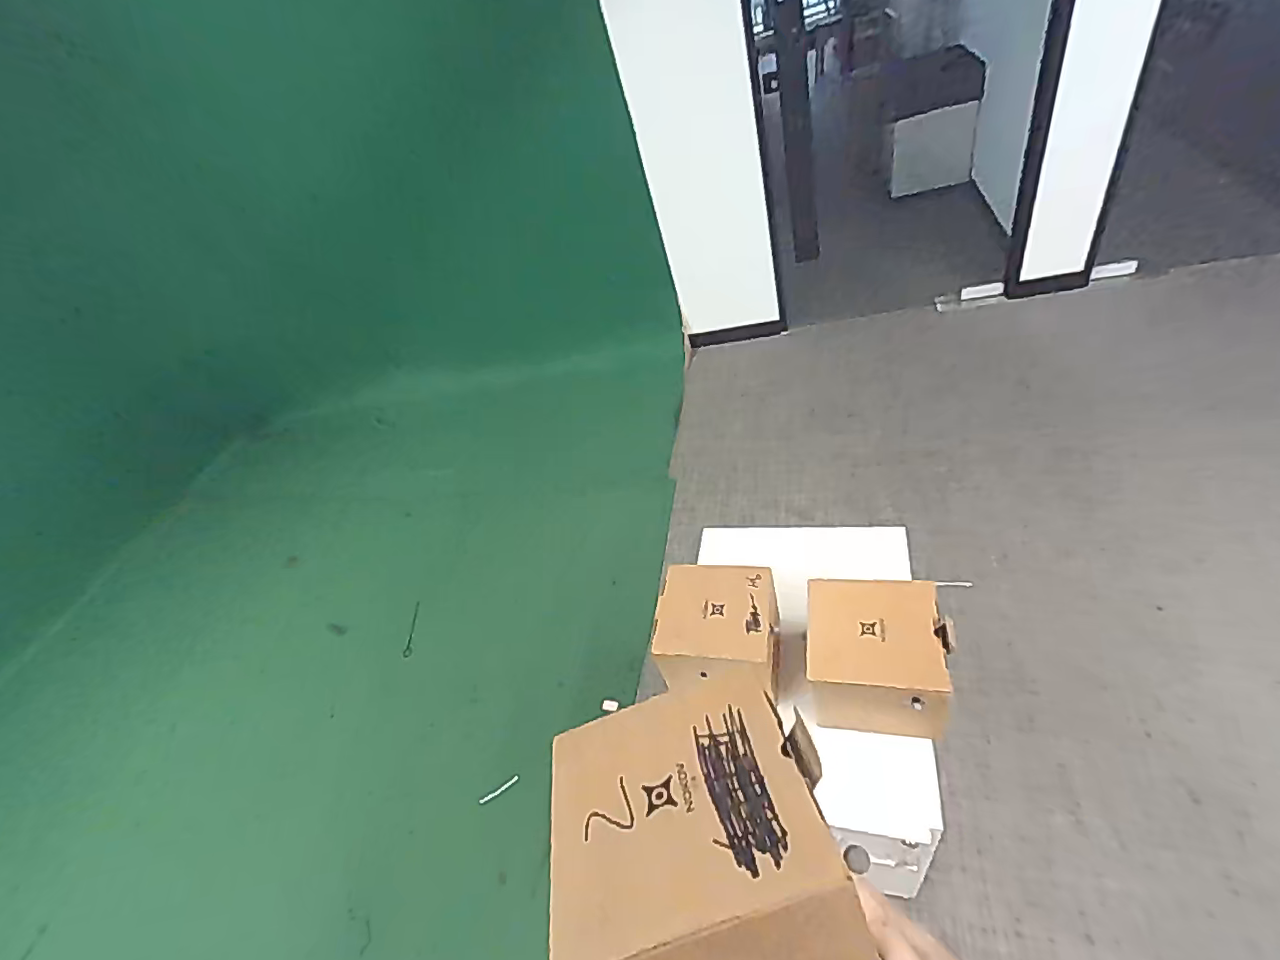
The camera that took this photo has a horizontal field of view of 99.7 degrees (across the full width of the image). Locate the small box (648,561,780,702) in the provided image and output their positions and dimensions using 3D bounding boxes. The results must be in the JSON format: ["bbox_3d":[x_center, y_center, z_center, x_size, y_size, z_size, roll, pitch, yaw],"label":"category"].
[{"bbox_3d":[0.131,0.251,0.895,0.179,0.176,0.168,-2,47,20],"label":"small box"}]
